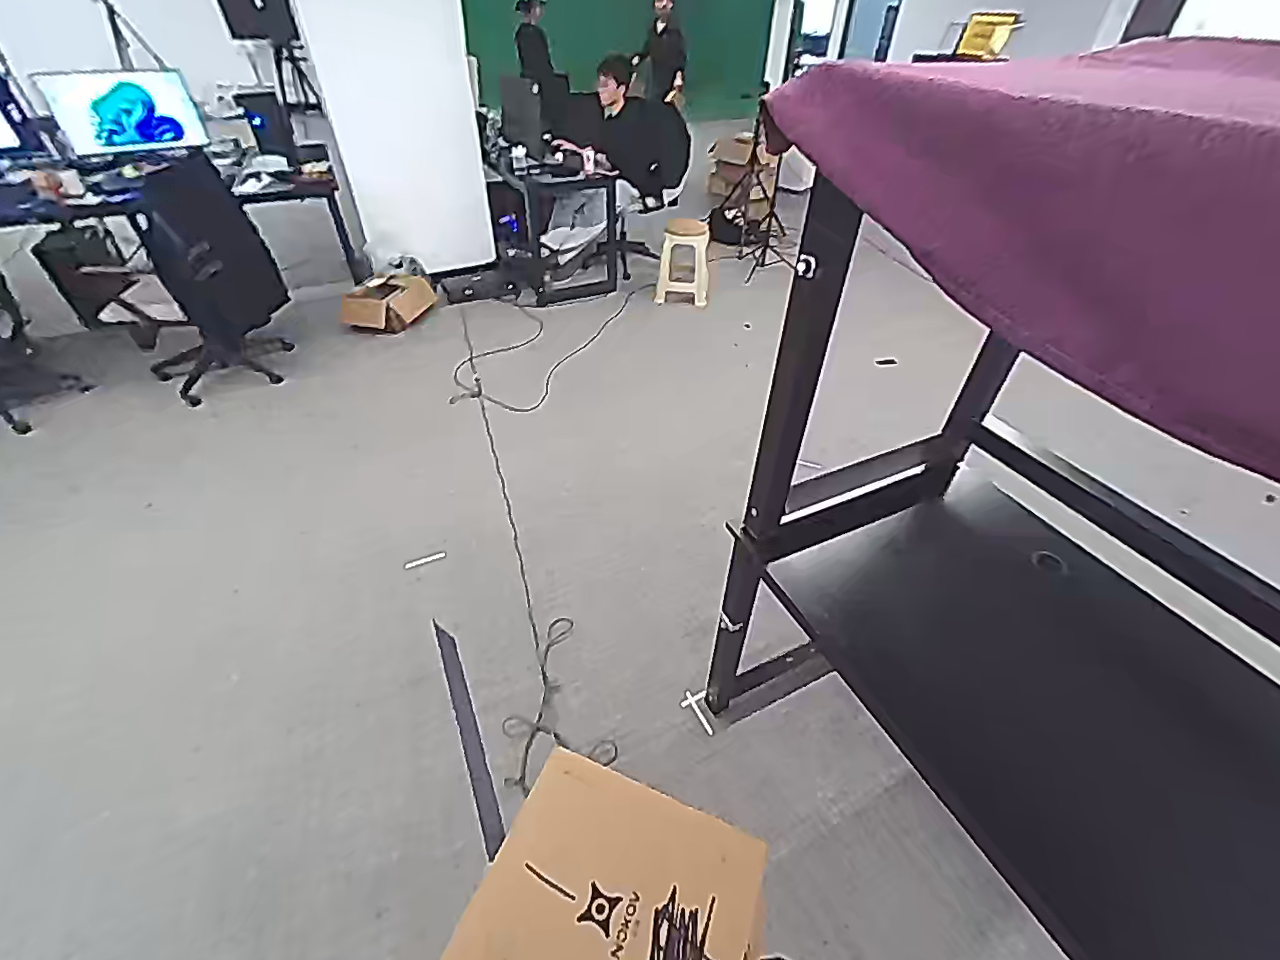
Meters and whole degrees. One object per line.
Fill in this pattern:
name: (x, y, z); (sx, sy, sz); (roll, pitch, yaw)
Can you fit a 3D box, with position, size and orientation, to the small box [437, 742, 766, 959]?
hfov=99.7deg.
small box: (-0.032, 0.339, 0.404); (0.179, 0.176, 0.168); (23, 44, 11)
